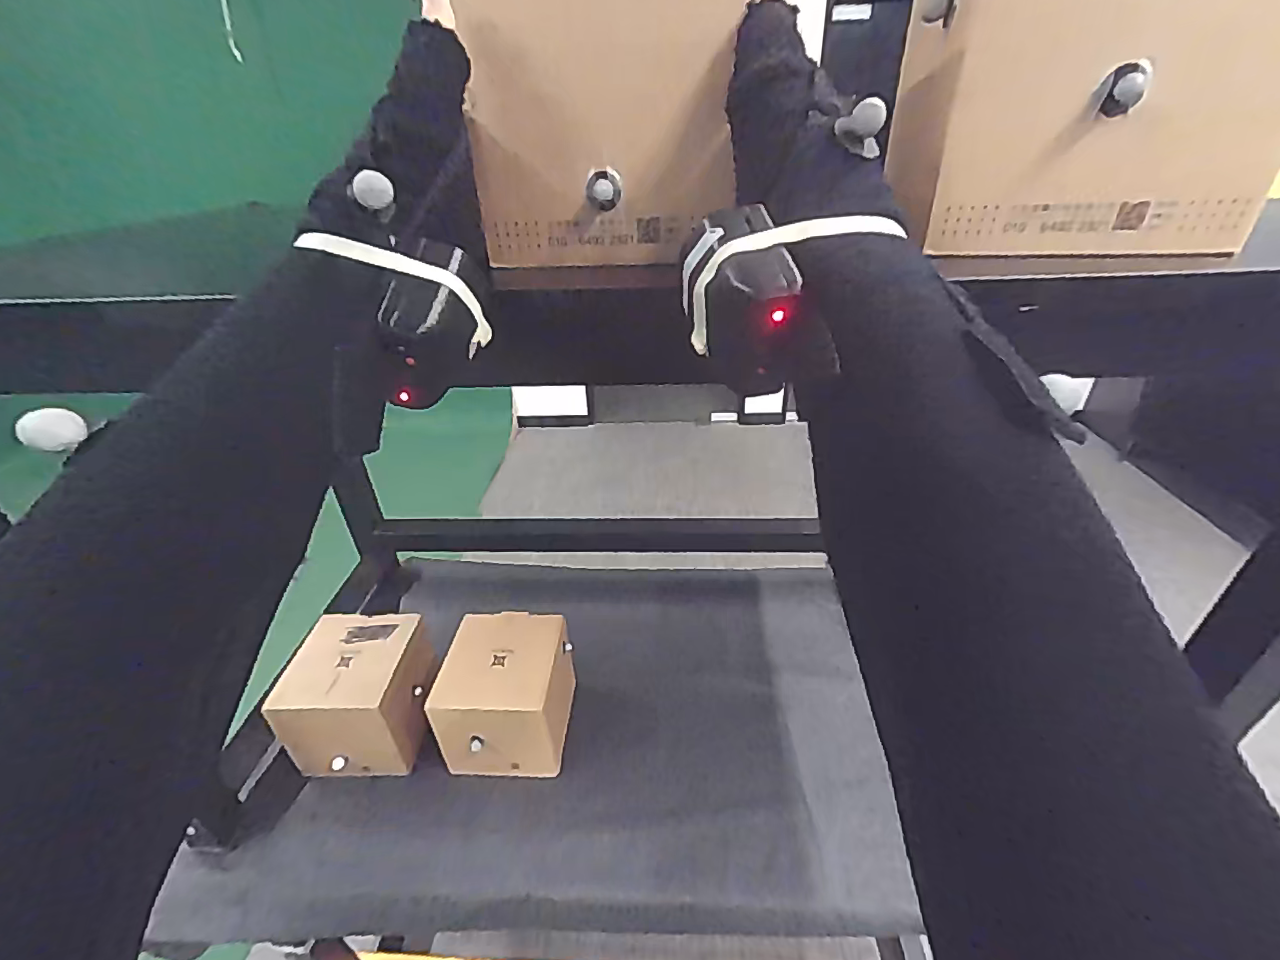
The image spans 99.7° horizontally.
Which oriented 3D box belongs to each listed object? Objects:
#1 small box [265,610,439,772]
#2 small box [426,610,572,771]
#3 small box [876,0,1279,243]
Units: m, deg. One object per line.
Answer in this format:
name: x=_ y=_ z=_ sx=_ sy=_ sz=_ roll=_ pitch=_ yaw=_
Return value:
small box: x=-0.430 y=0.325 z=0.847 sx=0.168 sy=0.176 sz=0.179 roll=-1 pitch=32 yaw=2
small box: x=-0.203 y=0.324 z=0.839 sx=0.168 sy=0.176 sz=0.179 roll=0 pitch=31 yaw=3
small box: x=0.261 y=-0.252 z=0.343 sx=0.168 sy=0.176 sz=0.179 roll=5 pitch=32 yaw=11
